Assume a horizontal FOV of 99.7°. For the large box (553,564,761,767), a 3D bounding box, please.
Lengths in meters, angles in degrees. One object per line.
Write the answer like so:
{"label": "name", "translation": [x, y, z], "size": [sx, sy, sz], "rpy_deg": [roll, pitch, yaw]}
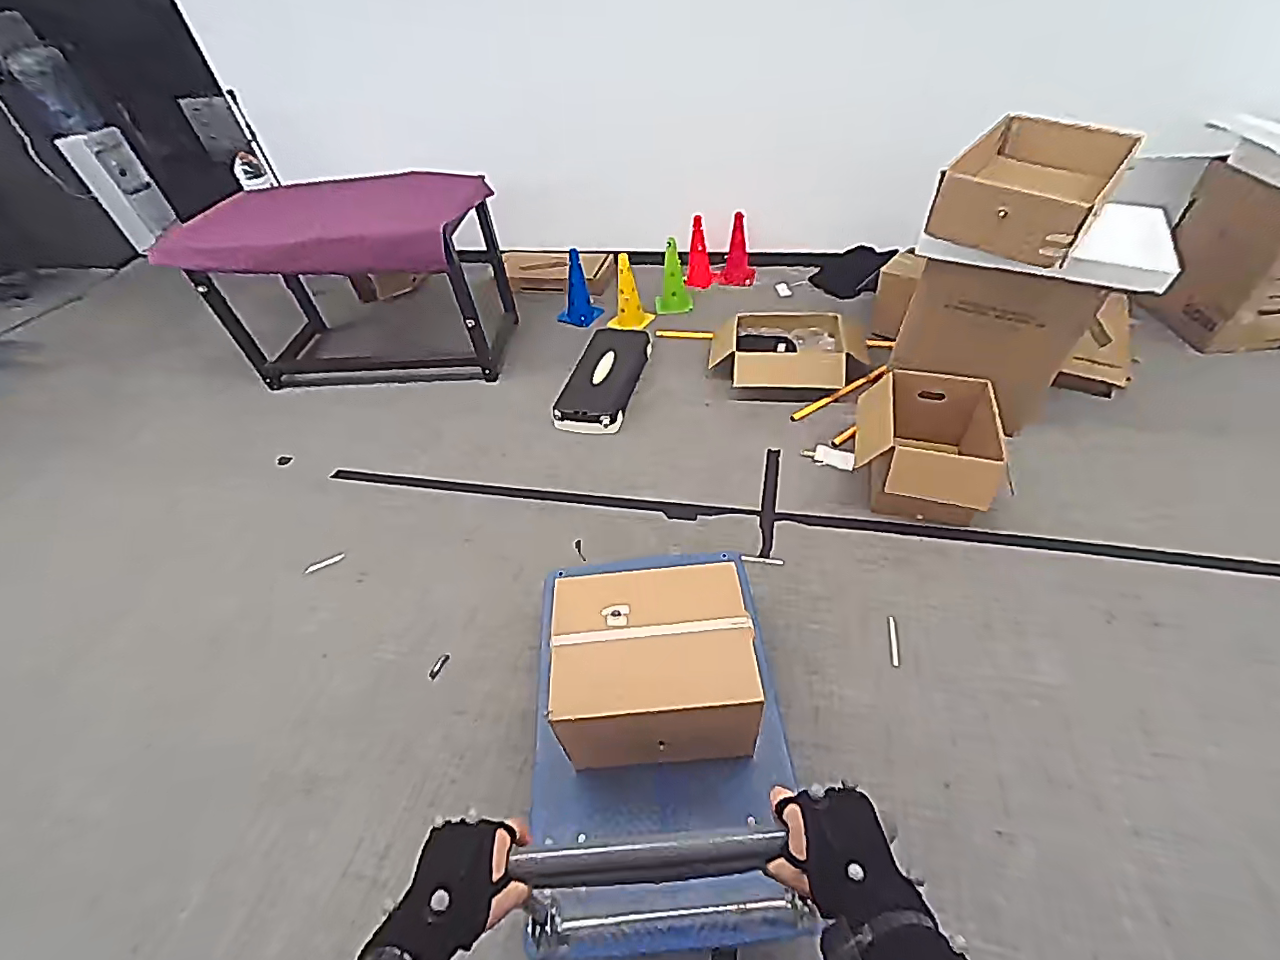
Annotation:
{"label": "large box", "translation": [0.036, 0.425, 1.227], "size": [0.408, 0.320, 0.320], "rpy_deg": [-7, 45, 1]}
